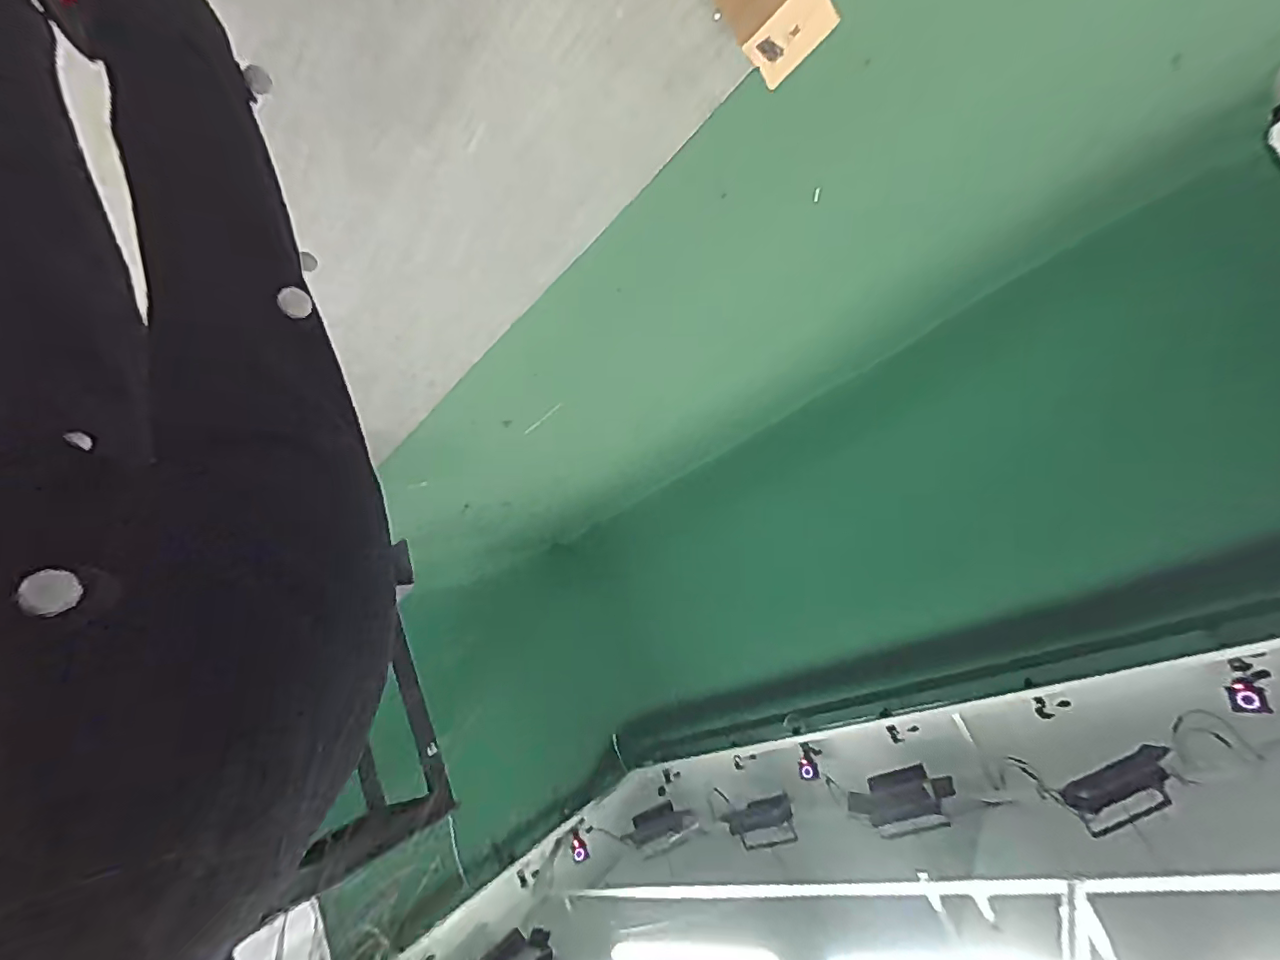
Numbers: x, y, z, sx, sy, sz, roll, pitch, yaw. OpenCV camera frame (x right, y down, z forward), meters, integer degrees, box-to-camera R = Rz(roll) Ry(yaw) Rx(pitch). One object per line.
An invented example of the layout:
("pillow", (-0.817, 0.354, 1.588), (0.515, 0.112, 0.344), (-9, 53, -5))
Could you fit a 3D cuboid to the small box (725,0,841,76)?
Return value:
("small box", (0.286, -1.019, 1.131), (0.179, 0.176, 0.168), (-31, 166, 33))
